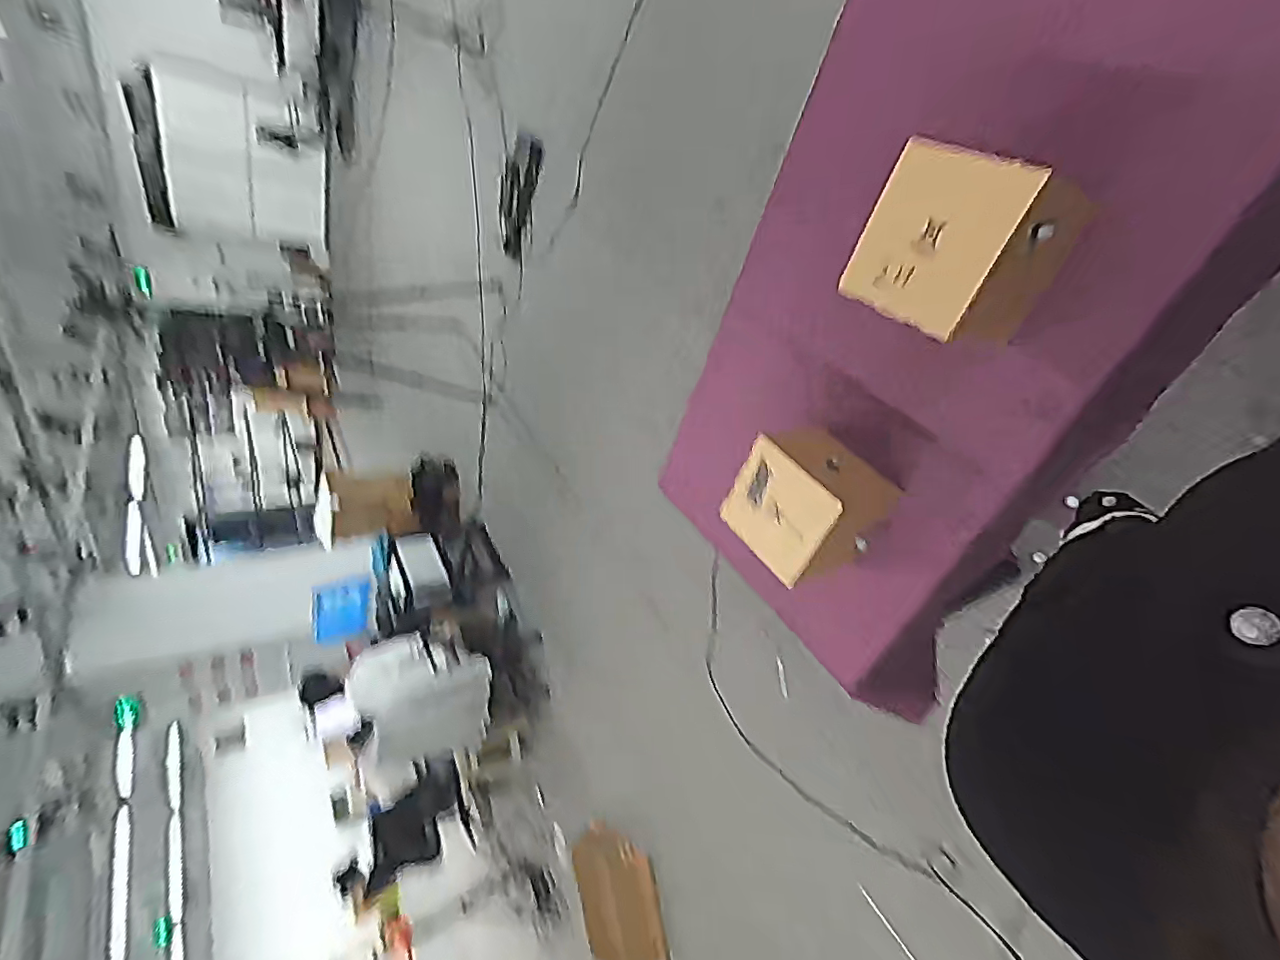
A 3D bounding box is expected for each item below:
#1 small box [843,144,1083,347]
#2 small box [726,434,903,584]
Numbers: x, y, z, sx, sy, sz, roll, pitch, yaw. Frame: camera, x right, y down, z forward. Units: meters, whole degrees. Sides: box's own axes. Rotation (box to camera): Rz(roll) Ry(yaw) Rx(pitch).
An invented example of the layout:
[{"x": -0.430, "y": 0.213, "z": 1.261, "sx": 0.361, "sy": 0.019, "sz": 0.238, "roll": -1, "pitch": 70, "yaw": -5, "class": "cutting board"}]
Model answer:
[{"x": 0.398, "y": -0.280, "z": 0.668, "sx": 0.168, "sy": 0.176, "sz": 0.179, "roll": 48, "pitch": 131, "yaw": 39, "class": "small box"}, {"x": 0.279, "y": 0.039, "z": 0.876, "sx": 0.179, "sy": 0.176, "sz": 0.168, "roll": 49, "pitch": 131, "yaw": 37, "class": "small box"}]
